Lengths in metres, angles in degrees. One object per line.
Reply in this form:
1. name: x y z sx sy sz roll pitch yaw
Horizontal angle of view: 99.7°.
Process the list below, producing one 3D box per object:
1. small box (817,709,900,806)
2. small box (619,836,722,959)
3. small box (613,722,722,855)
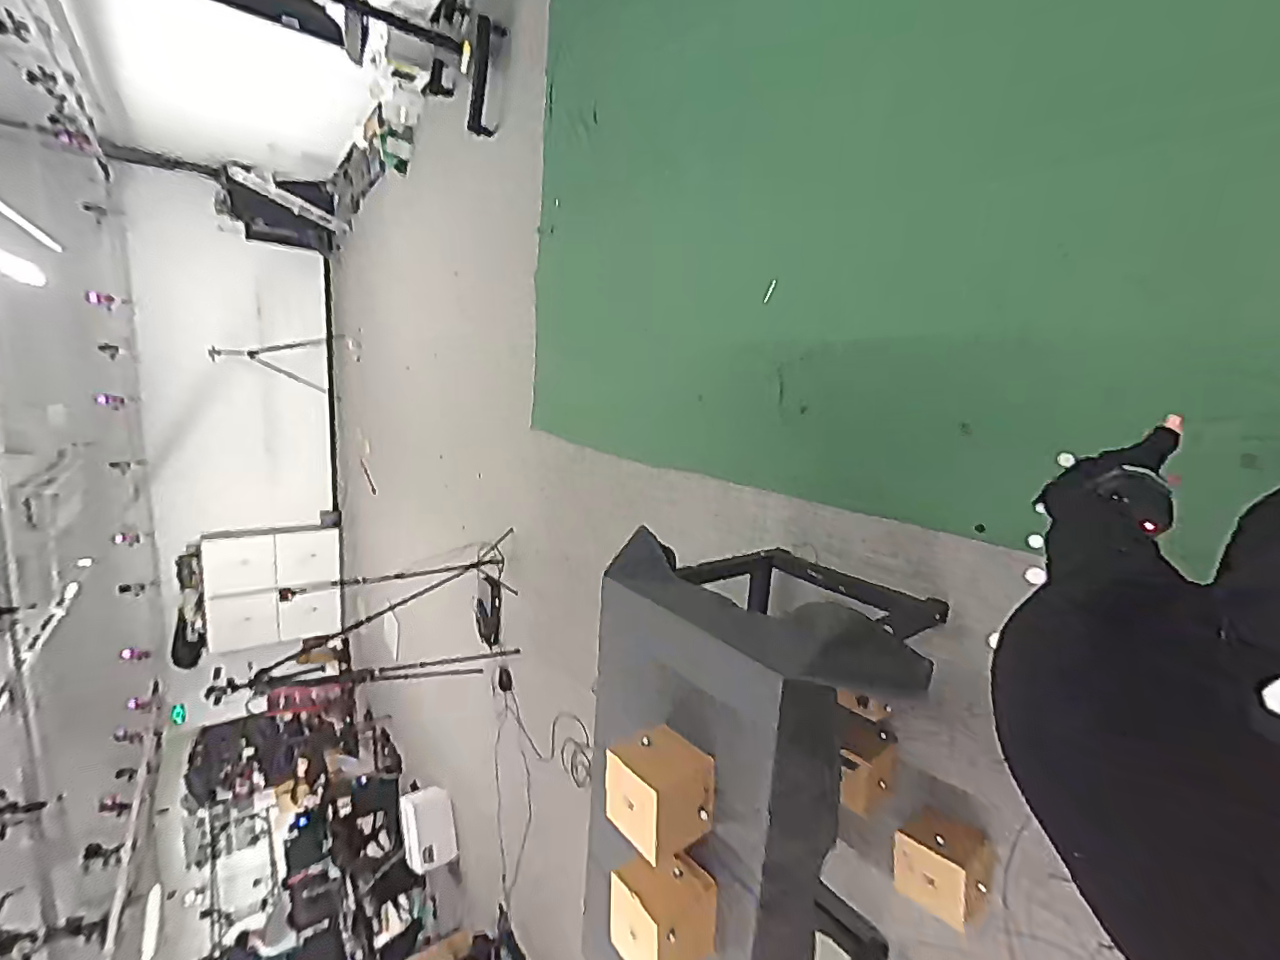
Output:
1. small box: 0.658 0.821 1.622 0.168 0.176 0.179 13 105 51
2. small box: 0.069 0.944 1.212 0.168 0.176 0.179 9 101 52
3. small box: 0.058 0.662 1.192 0.179 0.176 0.168 12 105 51
